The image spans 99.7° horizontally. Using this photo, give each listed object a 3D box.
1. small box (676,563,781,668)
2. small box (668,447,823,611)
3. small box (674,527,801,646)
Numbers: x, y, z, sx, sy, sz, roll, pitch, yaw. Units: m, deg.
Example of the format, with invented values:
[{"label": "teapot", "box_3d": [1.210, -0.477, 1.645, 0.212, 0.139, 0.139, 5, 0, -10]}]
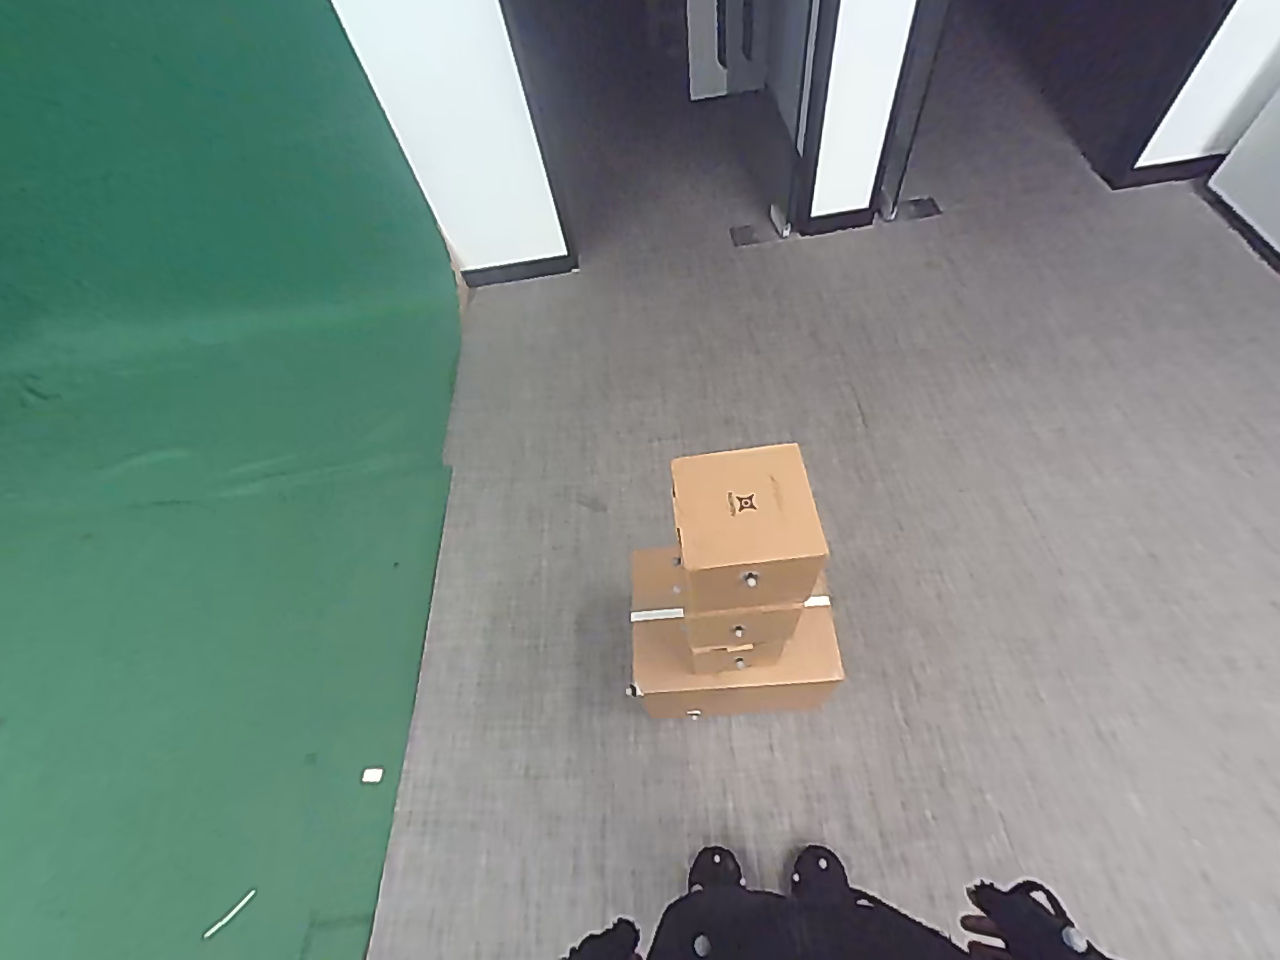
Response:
[{"label": "small box", "box_3d": [0.165, 0.252, 1.030, 0.168, 0.176, 0.179, -9, 58, 3]}, {"label": "small box", "box_3d": [0.138, 0.076, 0.757, 0.179, 0.176, 0.168, -7, 59, 3]}, {"label": "small box", "box_3d": [0.152, 0.166, 0.890, 0.179, 0.176, 0.168, -7, 58, 5]}]
